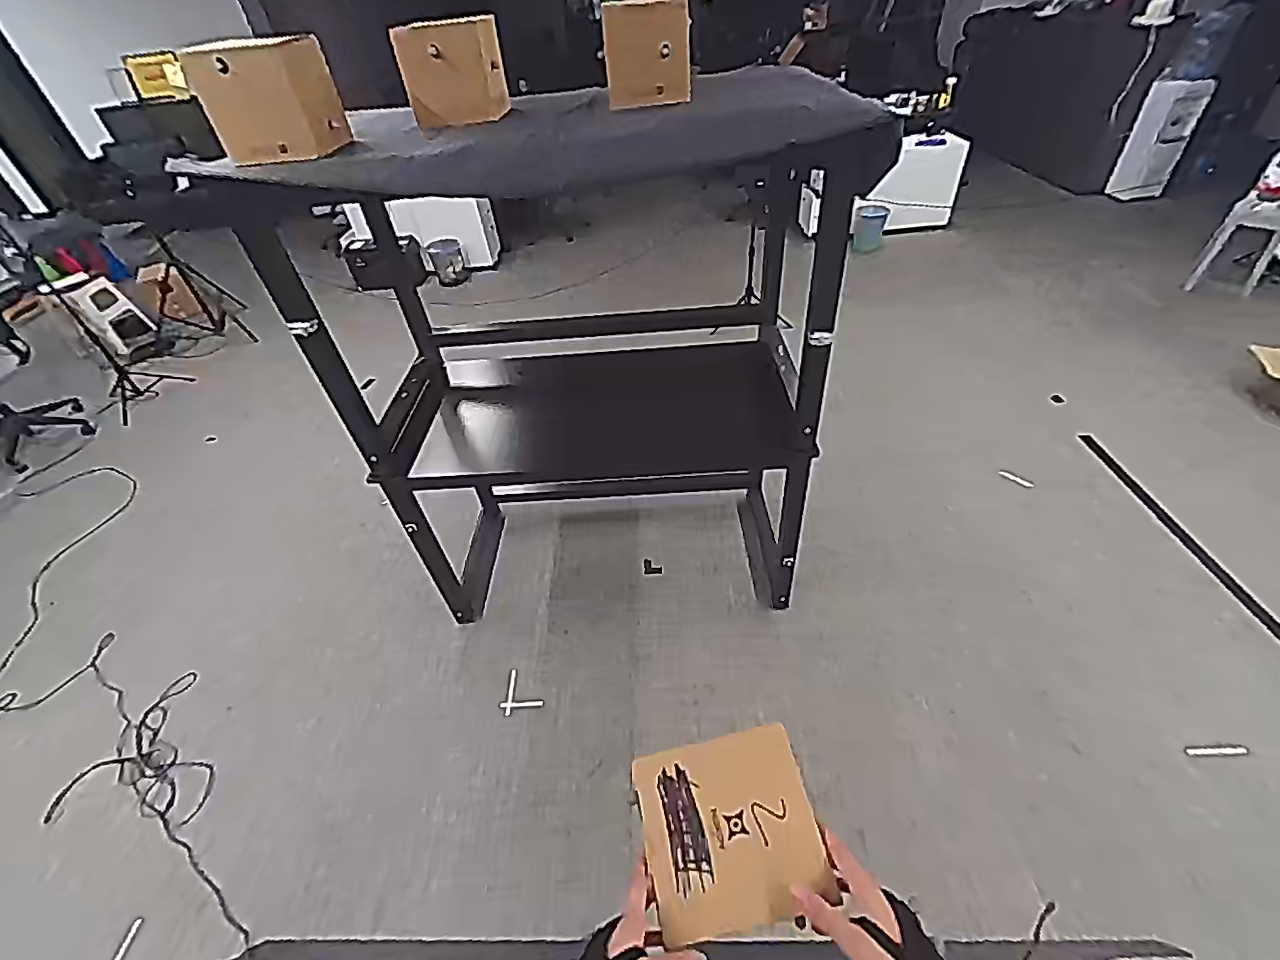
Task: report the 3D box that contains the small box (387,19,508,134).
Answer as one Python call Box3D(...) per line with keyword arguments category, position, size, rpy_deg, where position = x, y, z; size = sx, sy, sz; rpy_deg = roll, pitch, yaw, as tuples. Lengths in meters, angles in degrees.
Box3D(category="small box", position=(-0.394, -0.855, 1.148), size=(0.179, 0.176, 0.168), rpy_deg=(-3, 43, 4))

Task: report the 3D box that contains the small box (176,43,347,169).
Box3D(category="small box", position=(-0.669, -0.682, 0.988), size=(0.168, 0.176, 0.179), rpy_deg=(-5, 42, 1))

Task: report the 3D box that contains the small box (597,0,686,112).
Box3D(category="small box", position=(0.005, -0.881, 1.124), size=(0.168, 0.176, 0.179), rpy_deg=(-4, 43, 1))
